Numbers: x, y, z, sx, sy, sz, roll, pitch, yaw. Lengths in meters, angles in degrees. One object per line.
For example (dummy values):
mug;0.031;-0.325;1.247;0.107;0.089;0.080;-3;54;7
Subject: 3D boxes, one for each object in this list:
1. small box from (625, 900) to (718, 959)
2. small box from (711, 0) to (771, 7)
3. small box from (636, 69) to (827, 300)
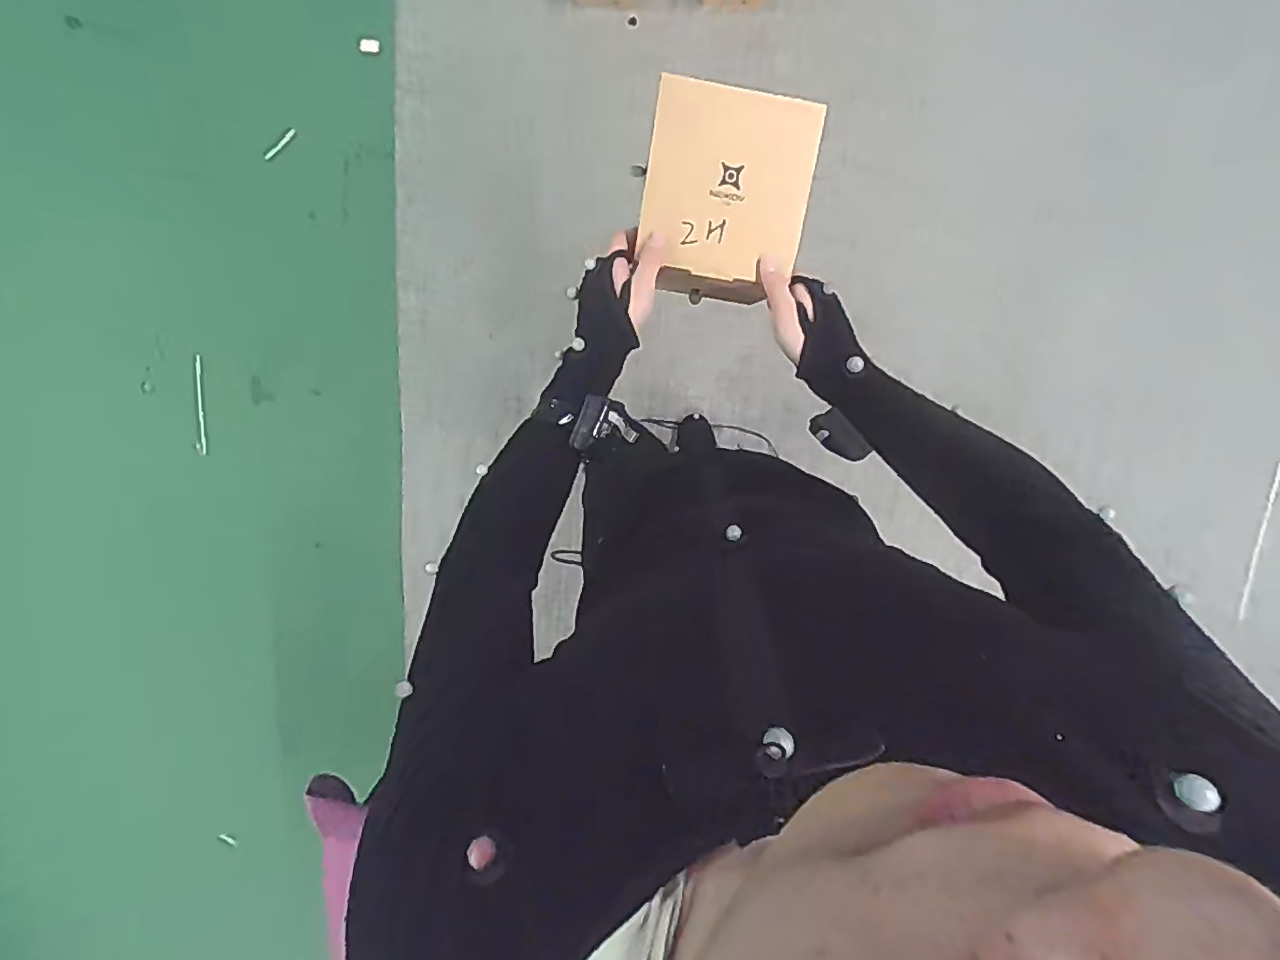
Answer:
small box;0.054;0.922;0.983;0.168;0.176;0.179;3;100;4
small box;0.251;-1.289;1.294;0.168;0.176;0.179;3;102;5
small box;0.088;-0.317;0.618;0.168;0.176;0.179;10;103;-2
